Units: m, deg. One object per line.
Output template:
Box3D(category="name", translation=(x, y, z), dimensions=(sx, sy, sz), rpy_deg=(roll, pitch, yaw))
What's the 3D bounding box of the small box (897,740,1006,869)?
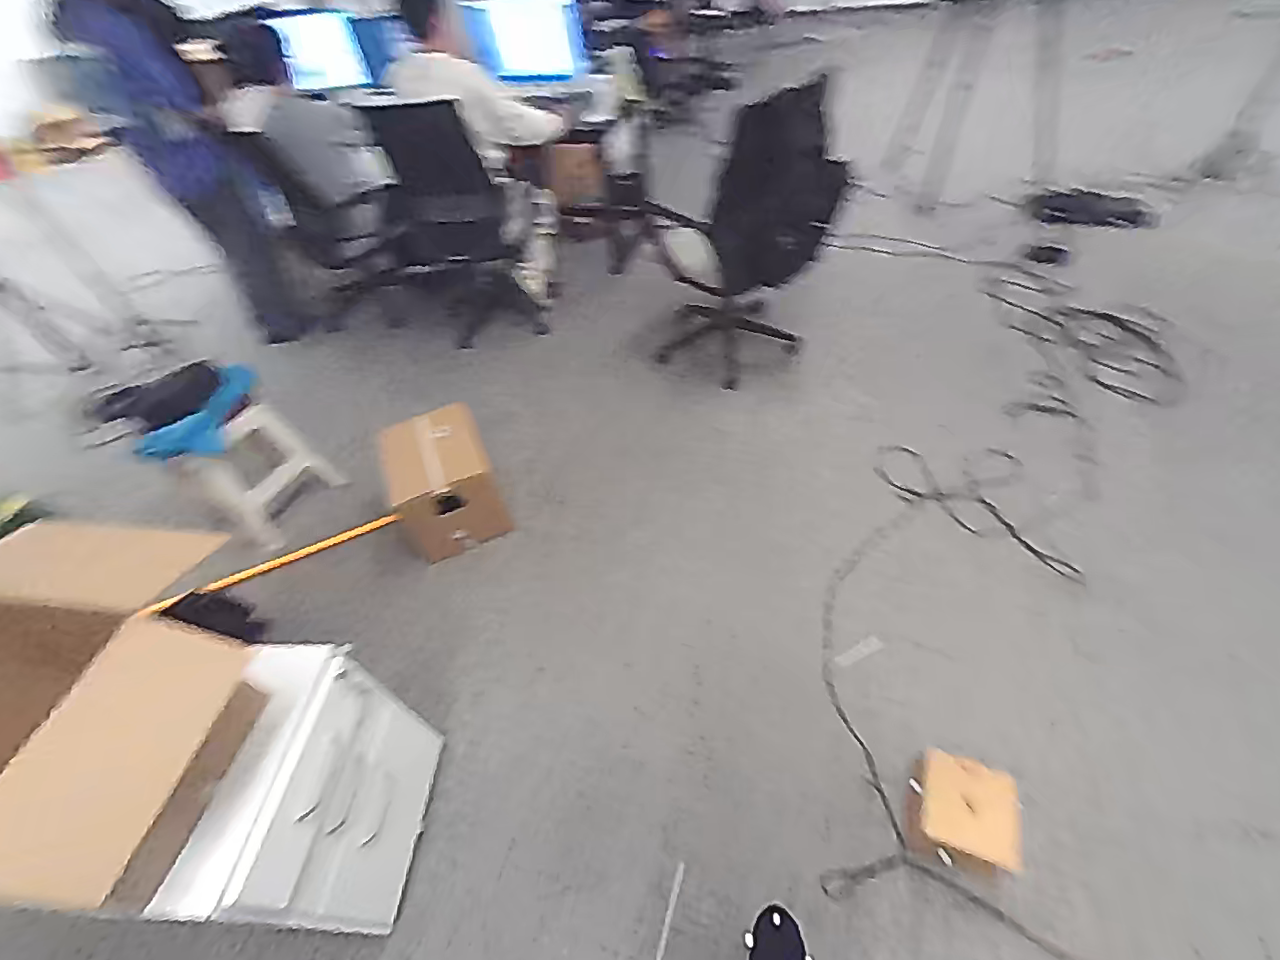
Box3D(category="small box", translation=(0.662, 0.700, 1.161), dimensions=(0.168, 0.176, 0.179), rpy_deg=(13, 51, 19))
